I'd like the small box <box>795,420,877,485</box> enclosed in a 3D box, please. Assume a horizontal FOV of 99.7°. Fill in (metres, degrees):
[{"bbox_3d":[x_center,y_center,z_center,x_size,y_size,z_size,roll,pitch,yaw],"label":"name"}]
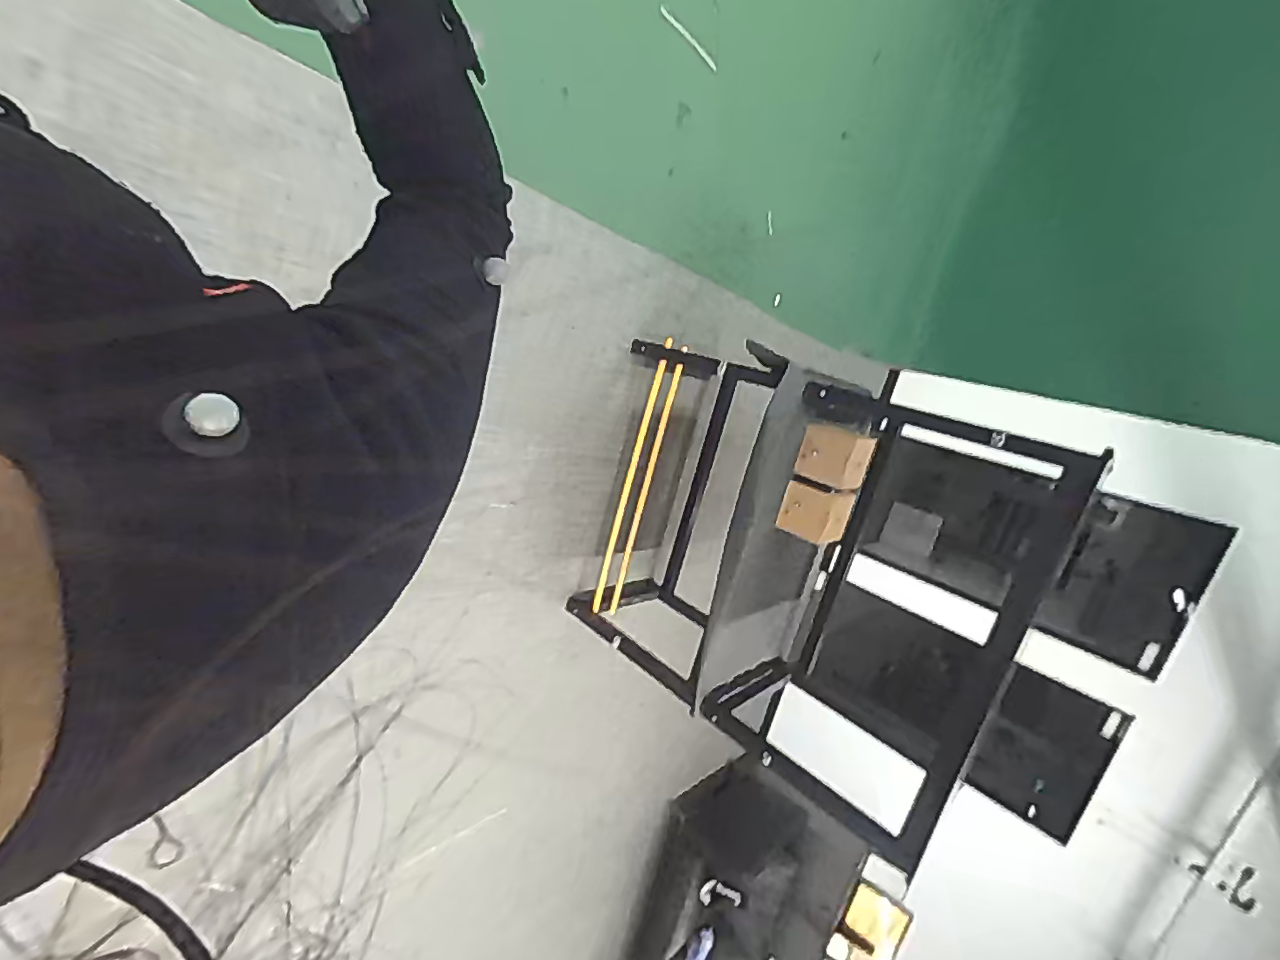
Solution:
[{"bbox_3d":[0.635,-0.092,1.757,0.179,0.176,0.168,-3,112,-48],"label":"small box"}]
